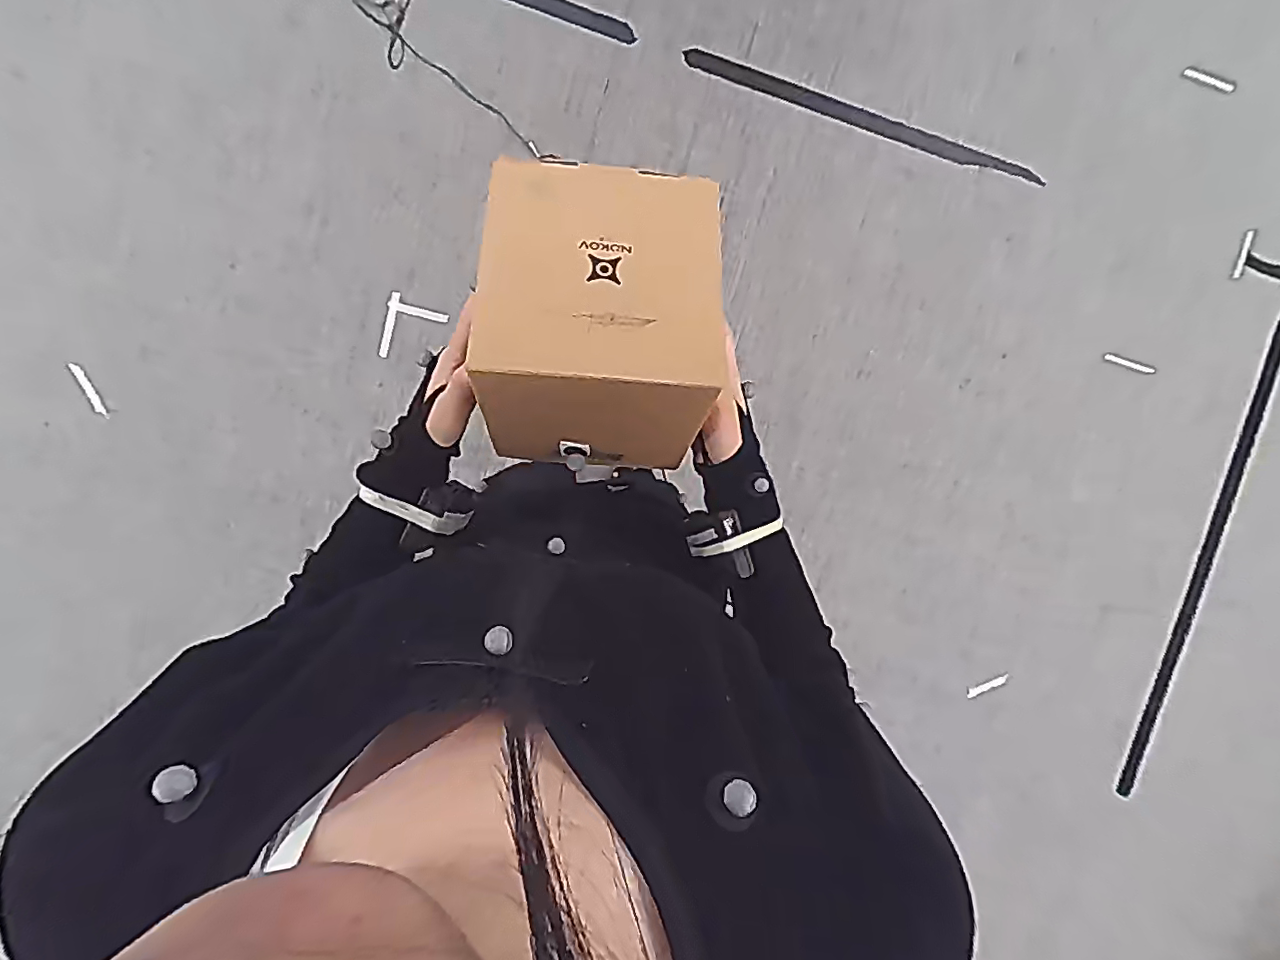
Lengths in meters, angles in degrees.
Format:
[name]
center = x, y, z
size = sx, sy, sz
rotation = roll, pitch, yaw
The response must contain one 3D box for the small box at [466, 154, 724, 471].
[small box]
center = -0.035, -0.120, 0.441
size = 0.168, 0.176, 0.179
rotation = 3, 72, -6
